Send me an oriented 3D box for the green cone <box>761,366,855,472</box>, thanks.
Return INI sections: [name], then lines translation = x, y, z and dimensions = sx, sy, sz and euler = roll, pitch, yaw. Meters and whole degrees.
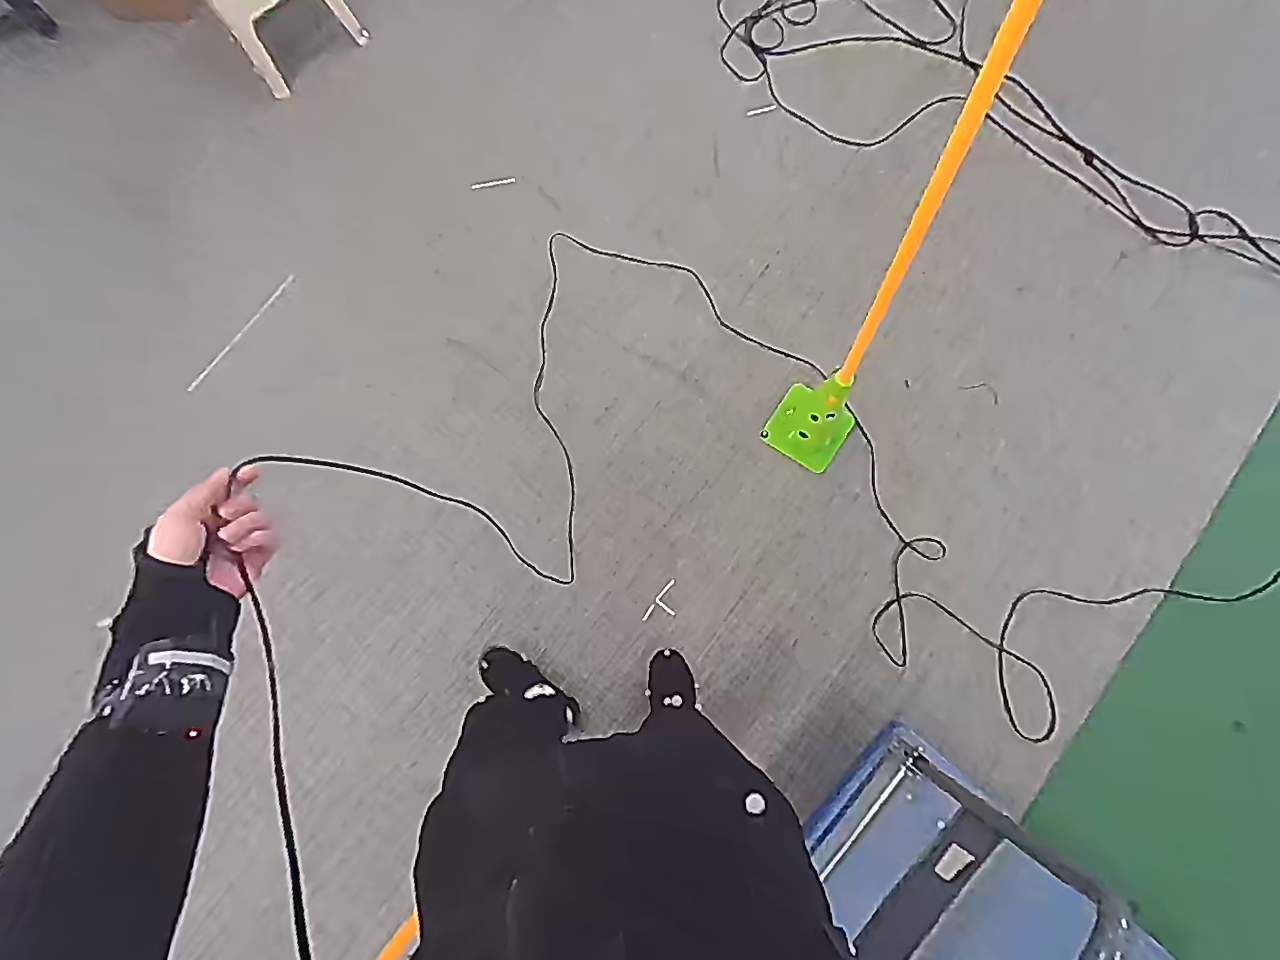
[green cone]
translation = 0.451, -0.180, 1.323
dimensions = 0.200, 0.368, 0.202
euler = 33, 81, 10
